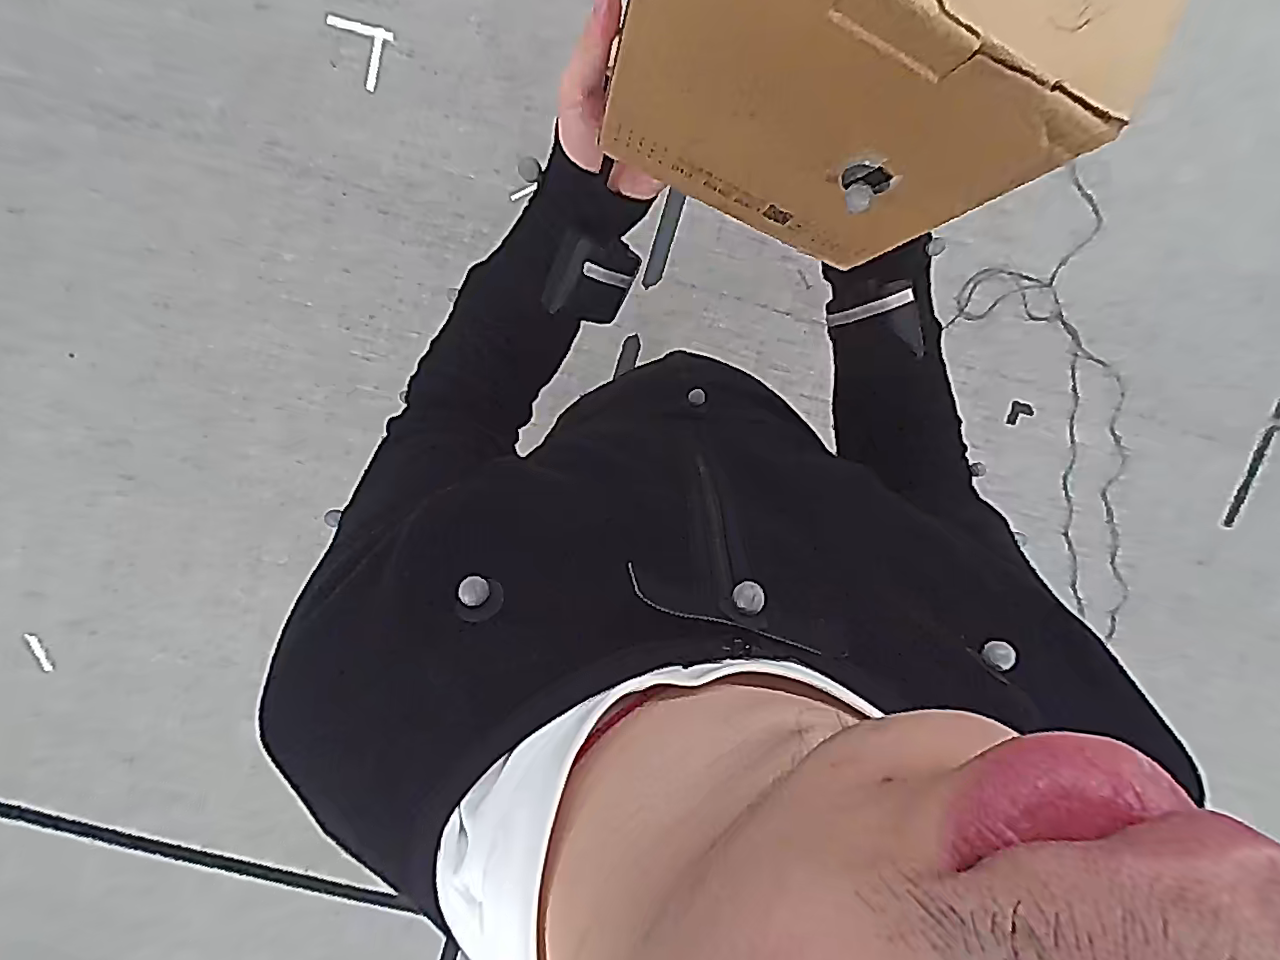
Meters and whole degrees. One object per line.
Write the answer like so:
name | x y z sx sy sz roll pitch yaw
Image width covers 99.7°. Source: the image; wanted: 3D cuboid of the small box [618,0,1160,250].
small box | 0.097 -0.233 0.242 0.168 0.176 0.179 19 92 -13
